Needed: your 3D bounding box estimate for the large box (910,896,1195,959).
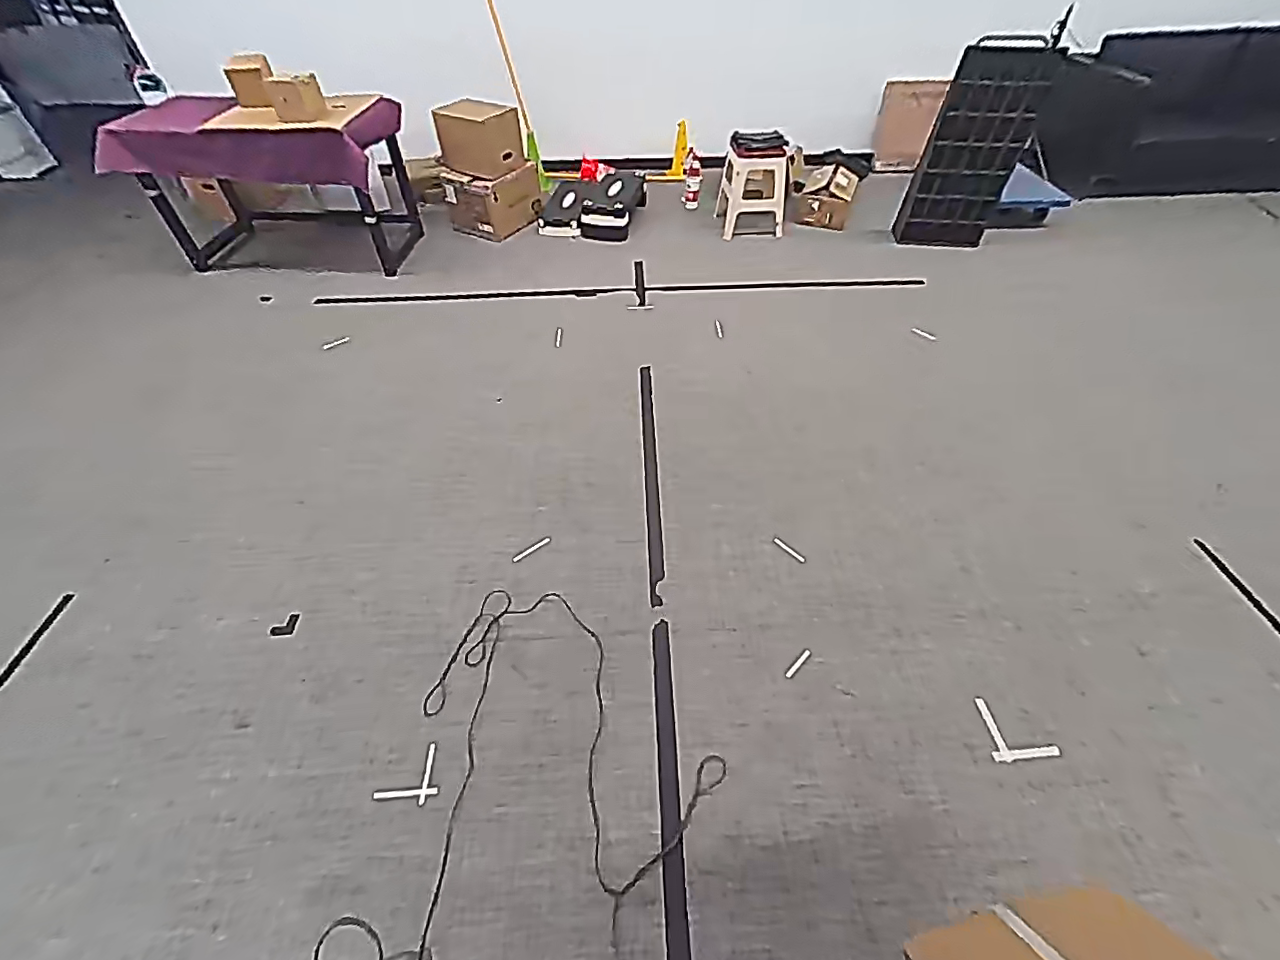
[{"bbox_3d":[0.573,0.759,0.570,0.320,0.408,0.320,-15,82,-4],"label":"large box"}]
